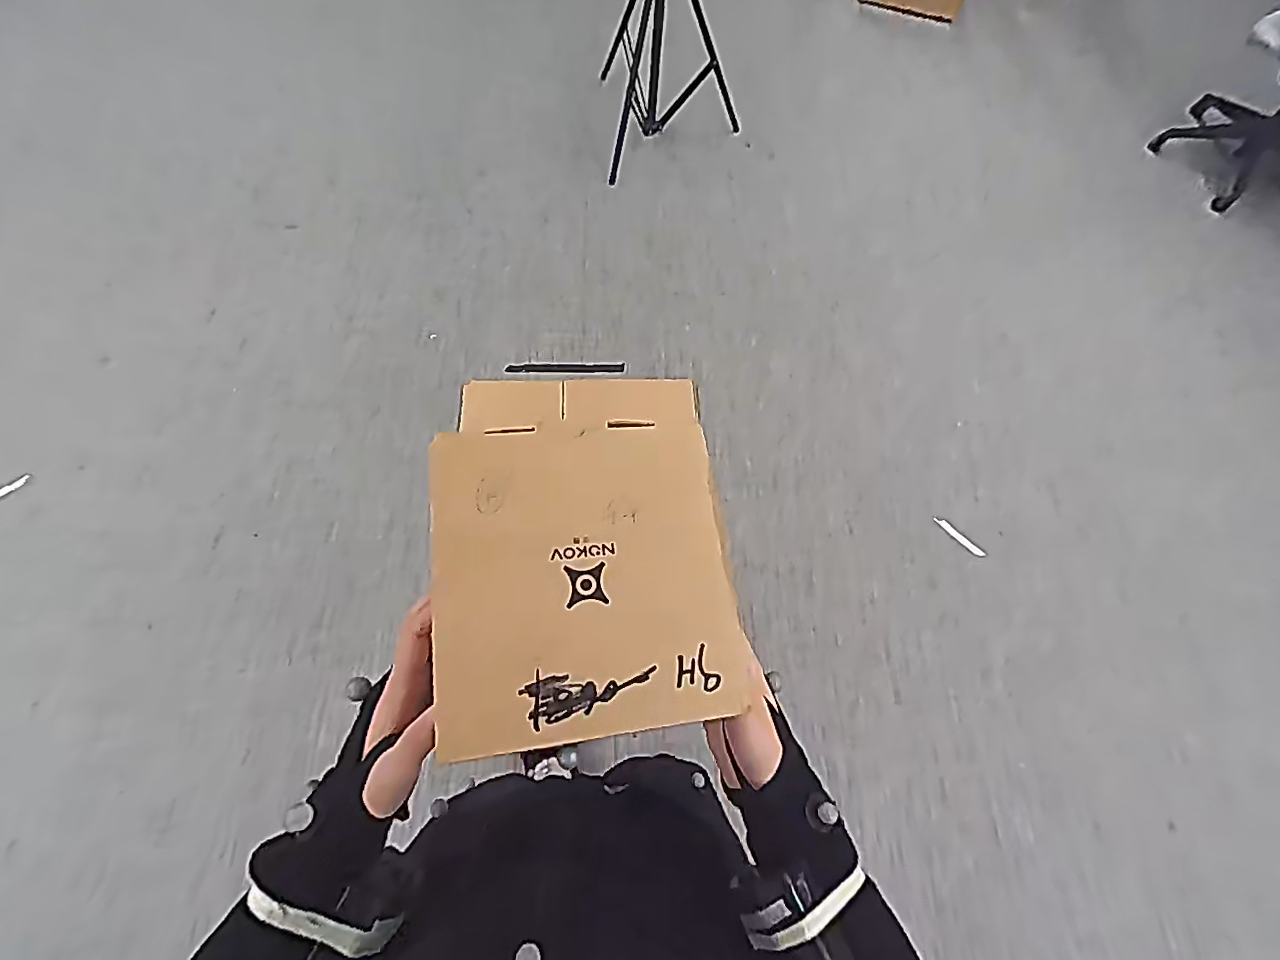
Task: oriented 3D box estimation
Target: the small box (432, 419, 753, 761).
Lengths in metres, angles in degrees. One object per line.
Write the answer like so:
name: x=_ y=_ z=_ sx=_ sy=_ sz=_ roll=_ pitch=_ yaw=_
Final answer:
small box: x=-0.041 y=0.075 z=0.374 sx=0.168 sy=0.176 sz=0.179 roll=-5 pitch=72 yaw=-10
